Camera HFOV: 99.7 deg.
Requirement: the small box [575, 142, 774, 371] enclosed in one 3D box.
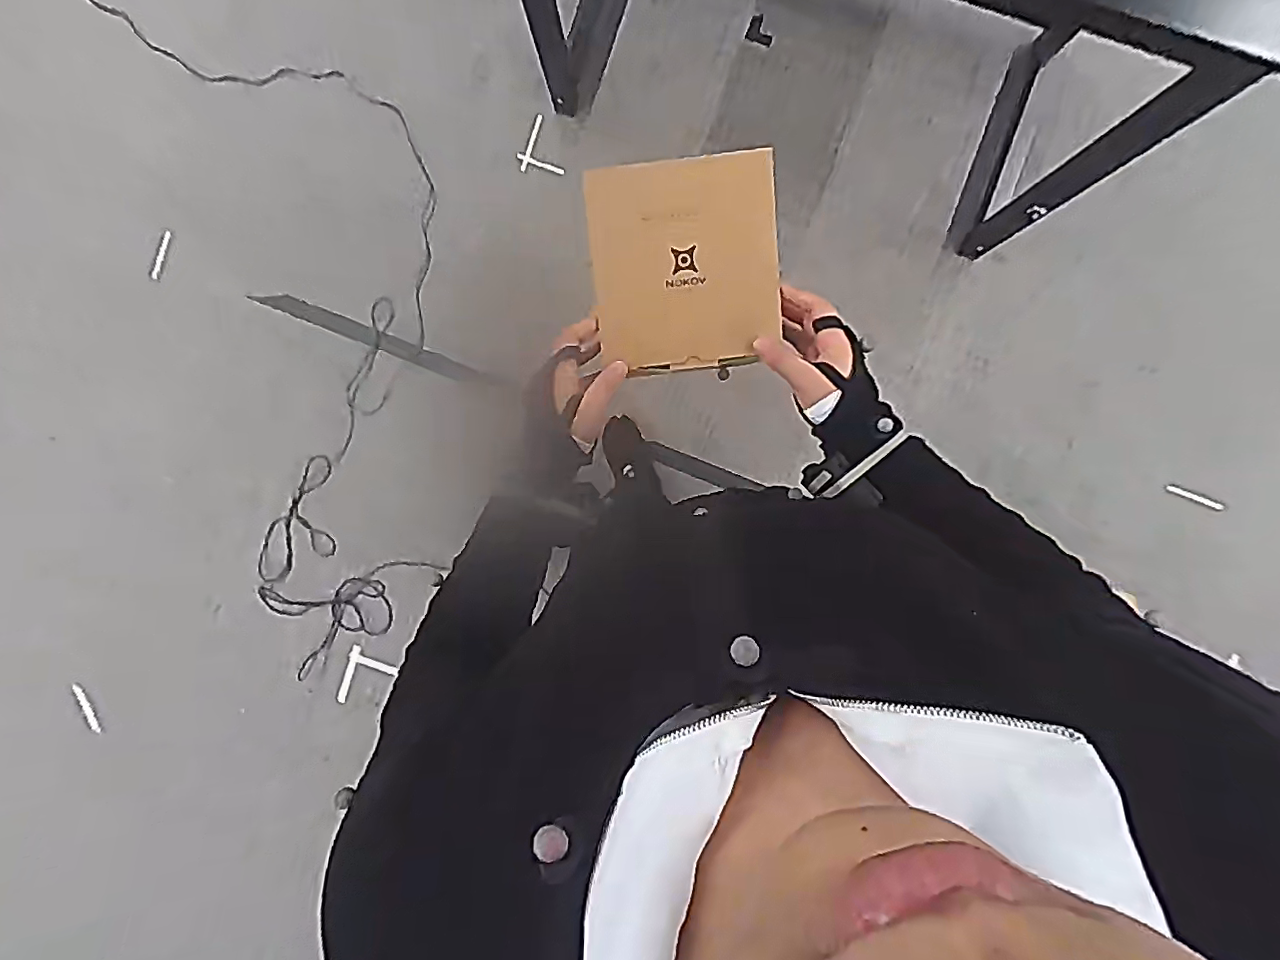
[{"bbox_3d":[0.034,-0.207,0.554,0.168,0.176,0.179,-6,98,1],"label":"small box"}]
